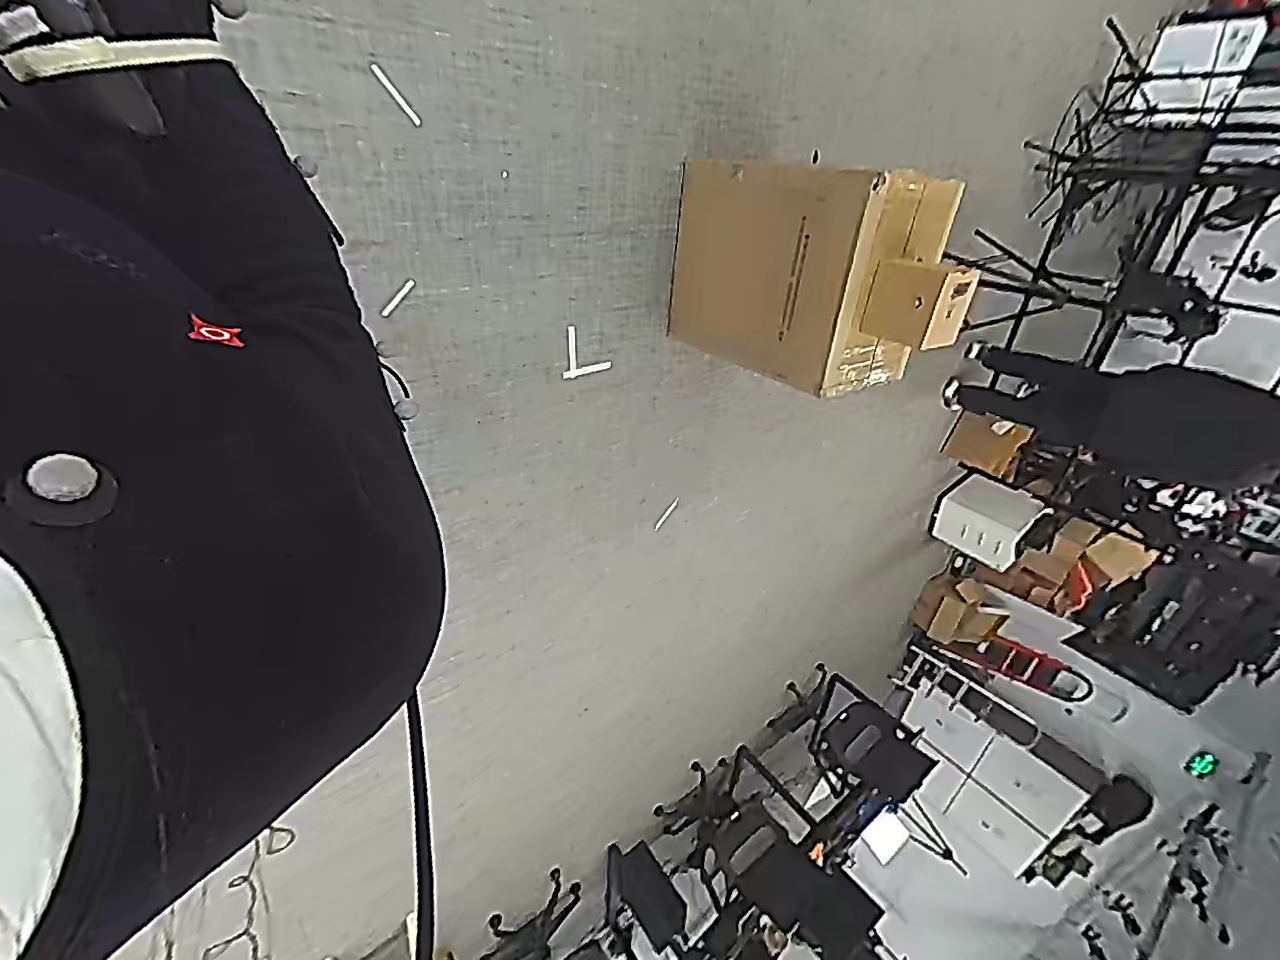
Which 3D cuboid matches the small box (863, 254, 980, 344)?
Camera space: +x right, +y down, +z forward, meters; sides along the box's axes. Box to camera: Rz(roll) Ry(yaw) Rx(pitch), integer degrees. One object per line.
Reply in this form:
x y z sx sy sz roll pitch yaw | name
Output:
0.671 -0.443 1.308 0.168 0.176 0.179 -16 127 -34 | small box
